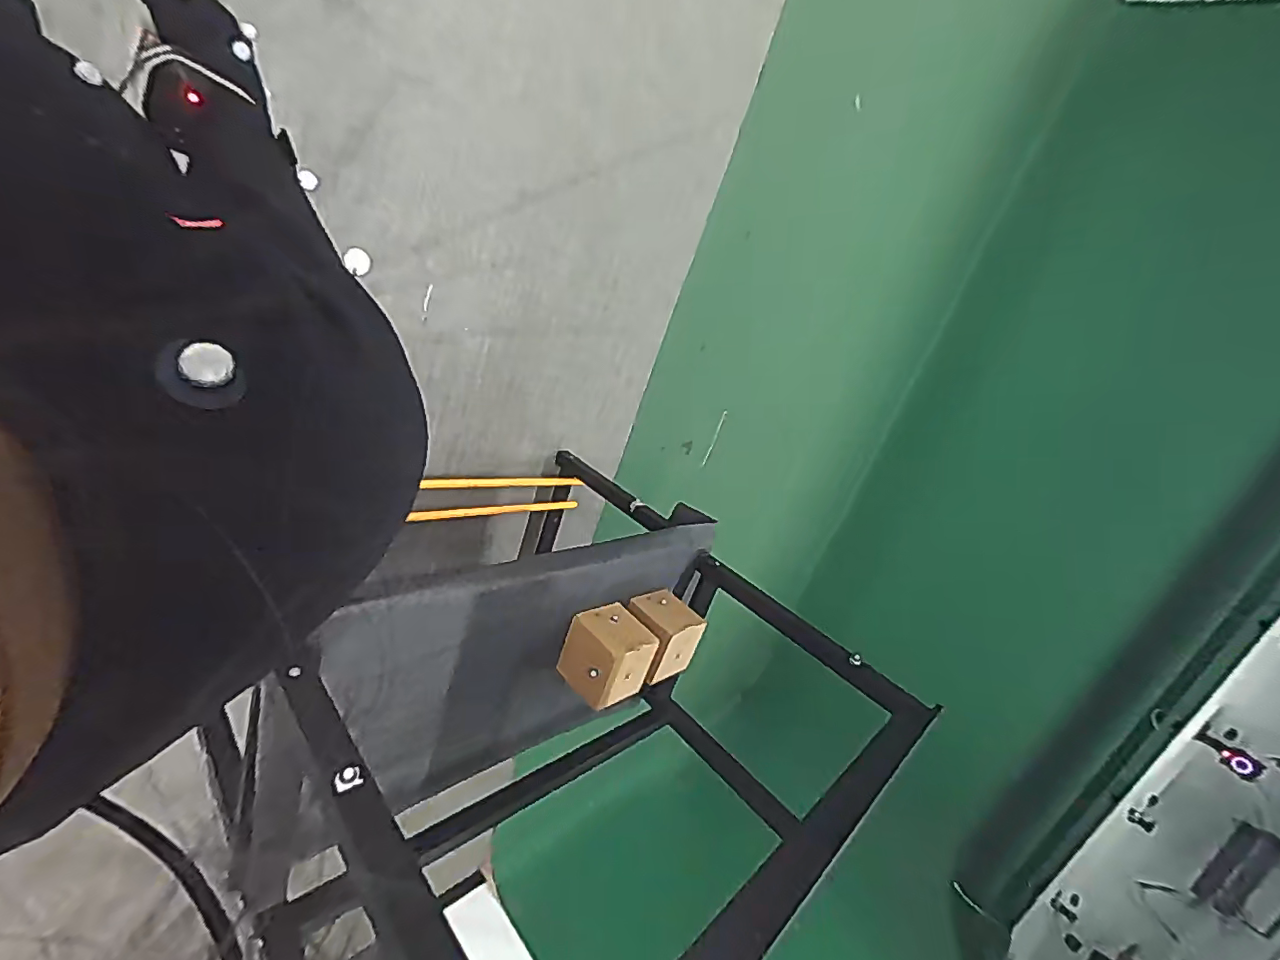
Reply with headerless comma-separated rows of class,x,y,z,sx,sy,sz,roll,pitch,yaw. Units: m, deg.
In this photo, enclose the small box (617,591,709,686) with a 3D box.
small box,0.059,0.444,1.542,0.168,0.176,0.179,-2,118,-49
